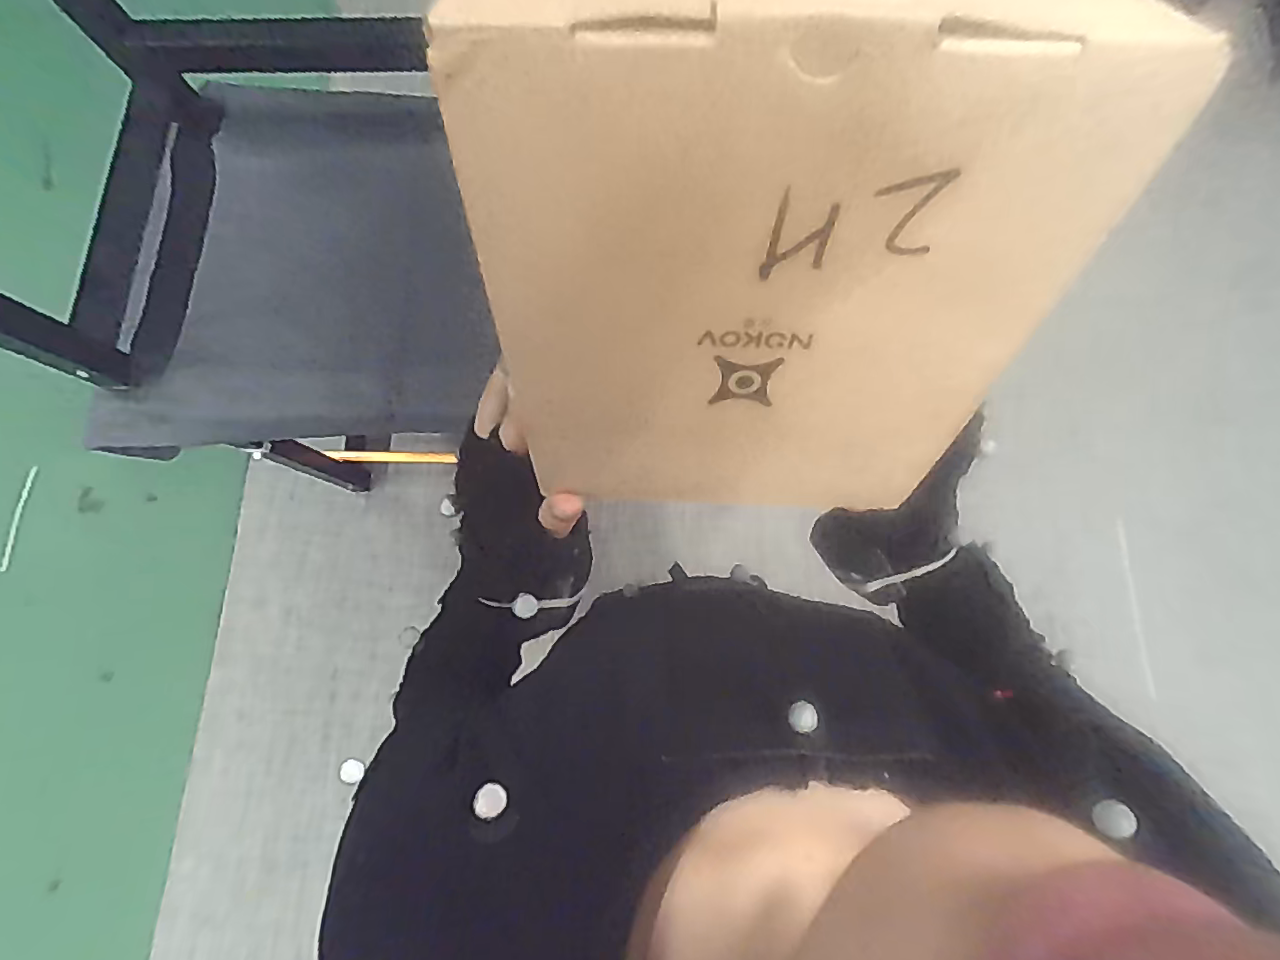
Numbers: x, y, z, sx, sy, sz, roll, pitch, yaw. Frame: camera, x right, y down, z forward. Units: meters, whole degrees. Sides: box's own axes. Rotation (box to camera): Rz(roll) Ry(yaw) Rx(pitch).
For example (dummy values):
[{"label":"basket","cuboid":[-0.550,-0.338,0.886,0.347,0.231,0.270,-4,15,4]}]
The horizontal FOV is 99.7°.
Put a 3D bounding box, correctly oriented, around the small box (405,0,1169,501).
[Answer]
[{"label":"small box","cuboid":[0.033,-0.110,0.226,0.168,0.179,0.176,2,56,1]}]
